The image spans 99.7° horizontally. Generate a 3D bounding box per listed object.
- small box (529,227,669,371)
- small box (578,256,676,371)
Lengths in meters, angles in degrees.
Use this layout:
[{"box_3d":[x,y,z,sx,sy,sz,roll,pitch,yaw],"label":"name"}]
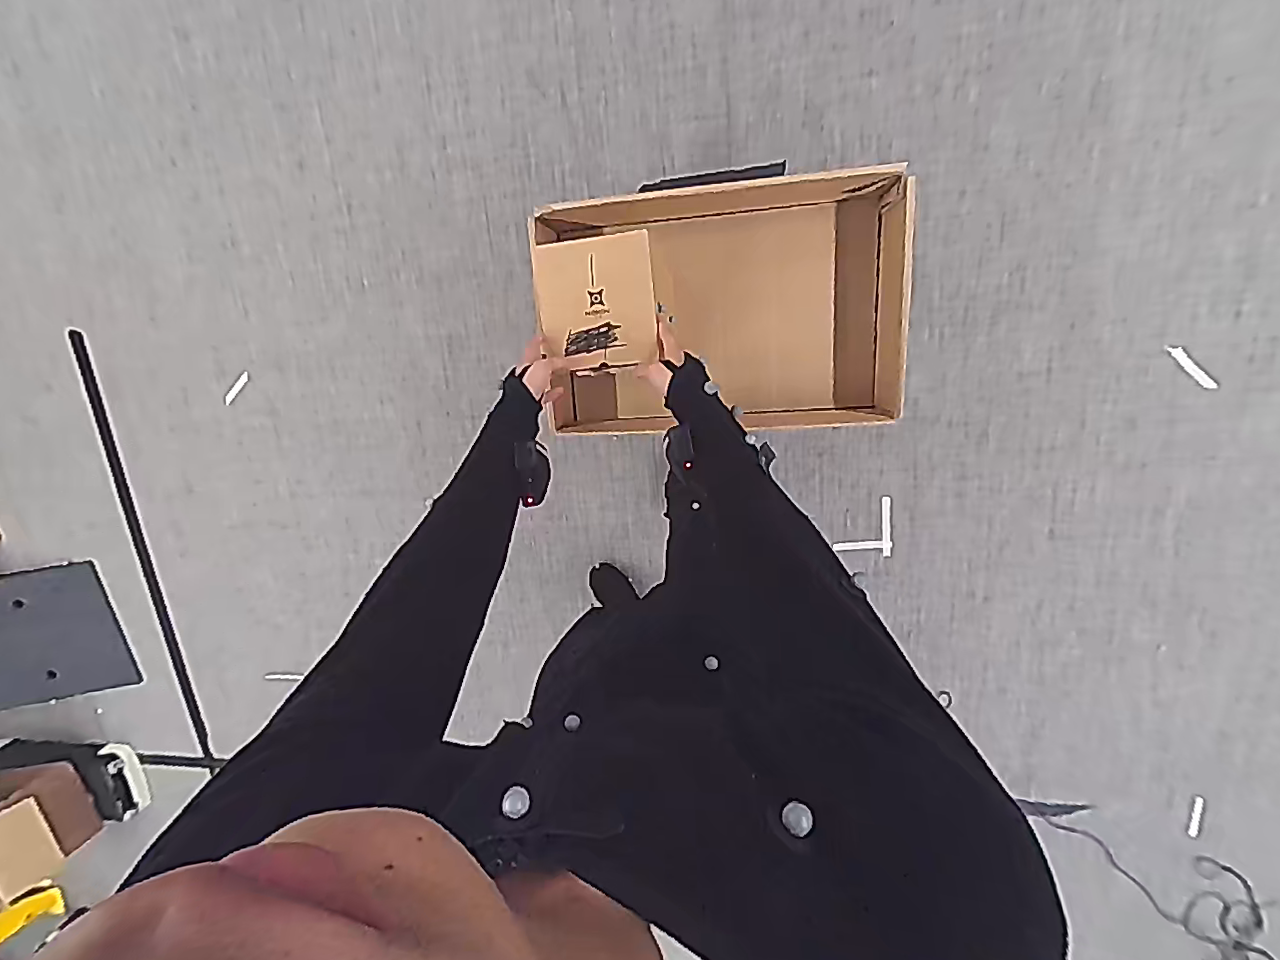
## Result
[{"box_3d":[-0.050,-0.265,0.817,0.168,0.176,0.179,-4,104,10],"label":"small box"},{"box_3d":[-0.026,-0.295,0.978,0.168,0.176,0.179,-3,104,10],"label":"small box"}]
